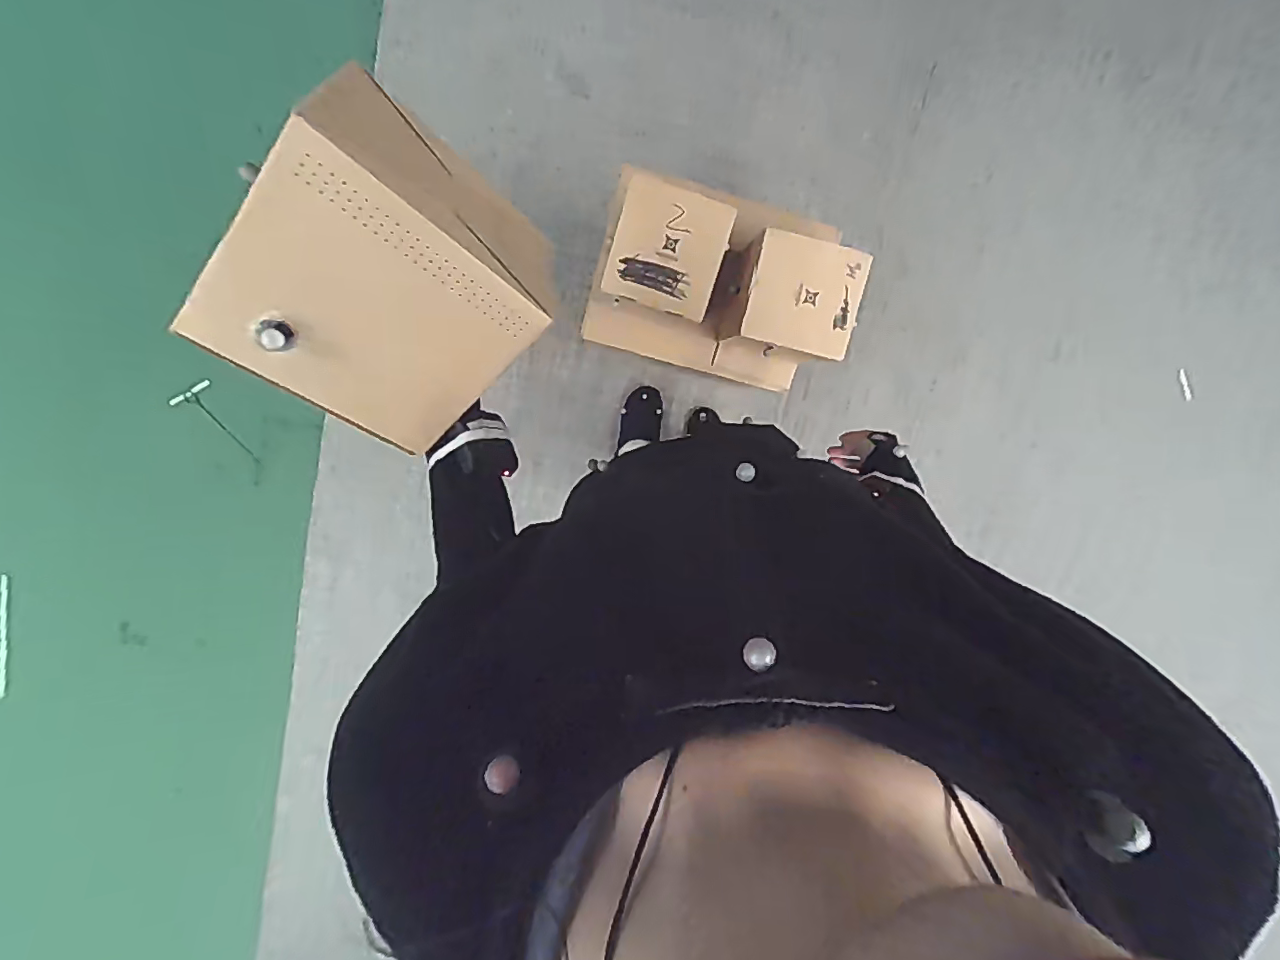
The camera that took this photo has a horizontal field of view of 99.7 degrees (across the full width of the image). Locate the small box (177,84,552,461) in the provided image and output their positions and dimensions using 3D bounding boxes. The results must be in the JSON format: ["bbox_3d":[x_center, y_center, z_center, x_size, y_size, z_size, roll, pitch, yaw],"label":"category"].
[{"bbox_3d":[-0.192,-0.154,0.416,0.176,0.168,0.179,-38,131,24],"label":"small box"}]
